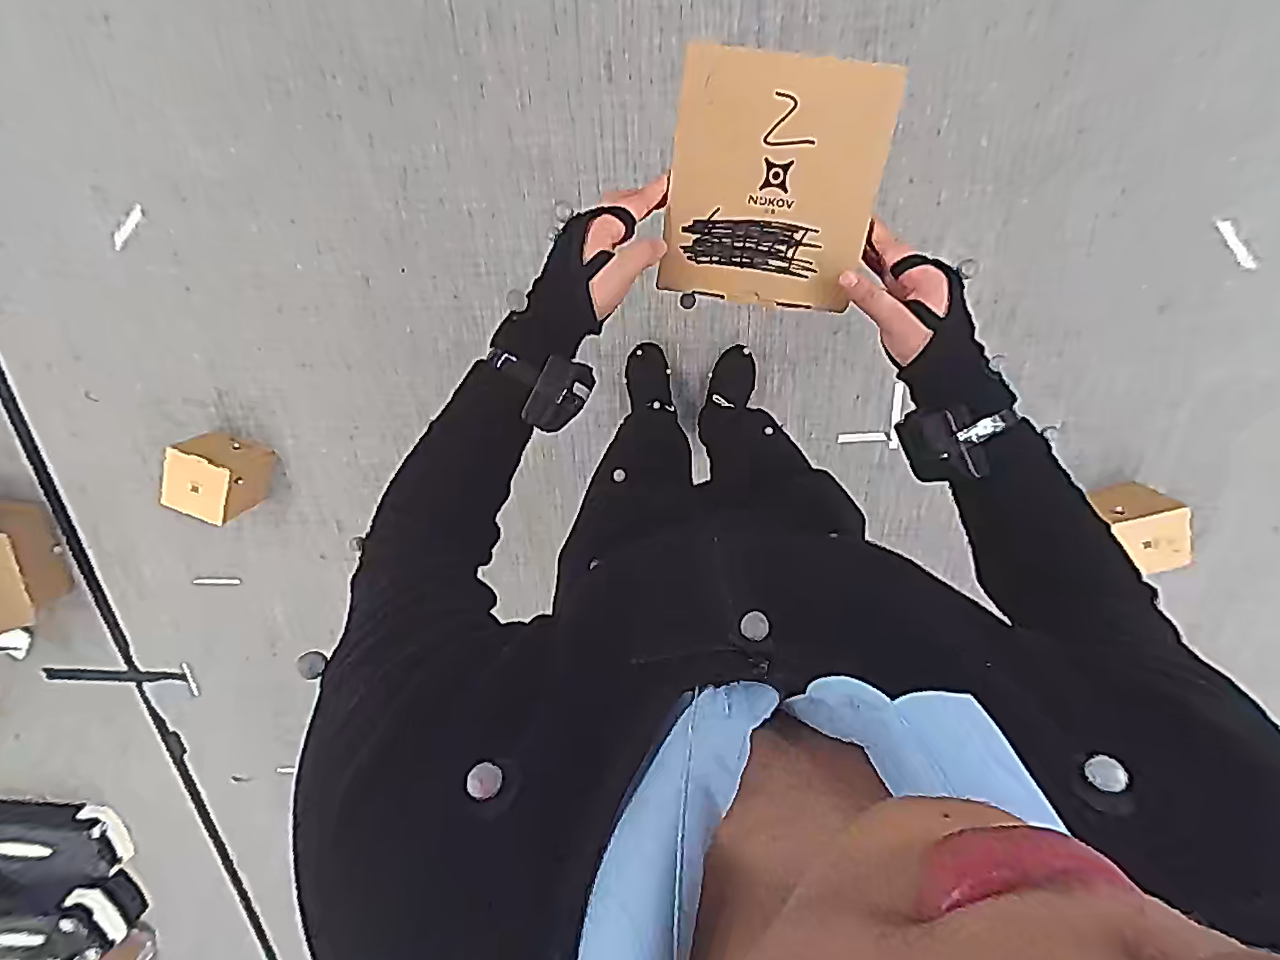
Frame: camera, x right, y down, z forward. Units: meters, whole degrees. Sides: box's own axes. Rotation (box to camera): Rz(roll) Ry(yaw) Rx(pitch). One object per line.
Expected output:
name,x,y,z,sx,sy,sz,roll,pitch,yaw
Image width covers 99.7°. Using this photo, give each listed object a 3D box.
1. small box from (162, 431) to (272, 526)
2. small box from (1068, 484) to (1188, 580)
small box,-1.146,-0.009,1.473,0.168,0.176,0.179,23,110,-5
small box,1.237,0.128,1.385,0.179,0.176,0.168,-16,109,9
